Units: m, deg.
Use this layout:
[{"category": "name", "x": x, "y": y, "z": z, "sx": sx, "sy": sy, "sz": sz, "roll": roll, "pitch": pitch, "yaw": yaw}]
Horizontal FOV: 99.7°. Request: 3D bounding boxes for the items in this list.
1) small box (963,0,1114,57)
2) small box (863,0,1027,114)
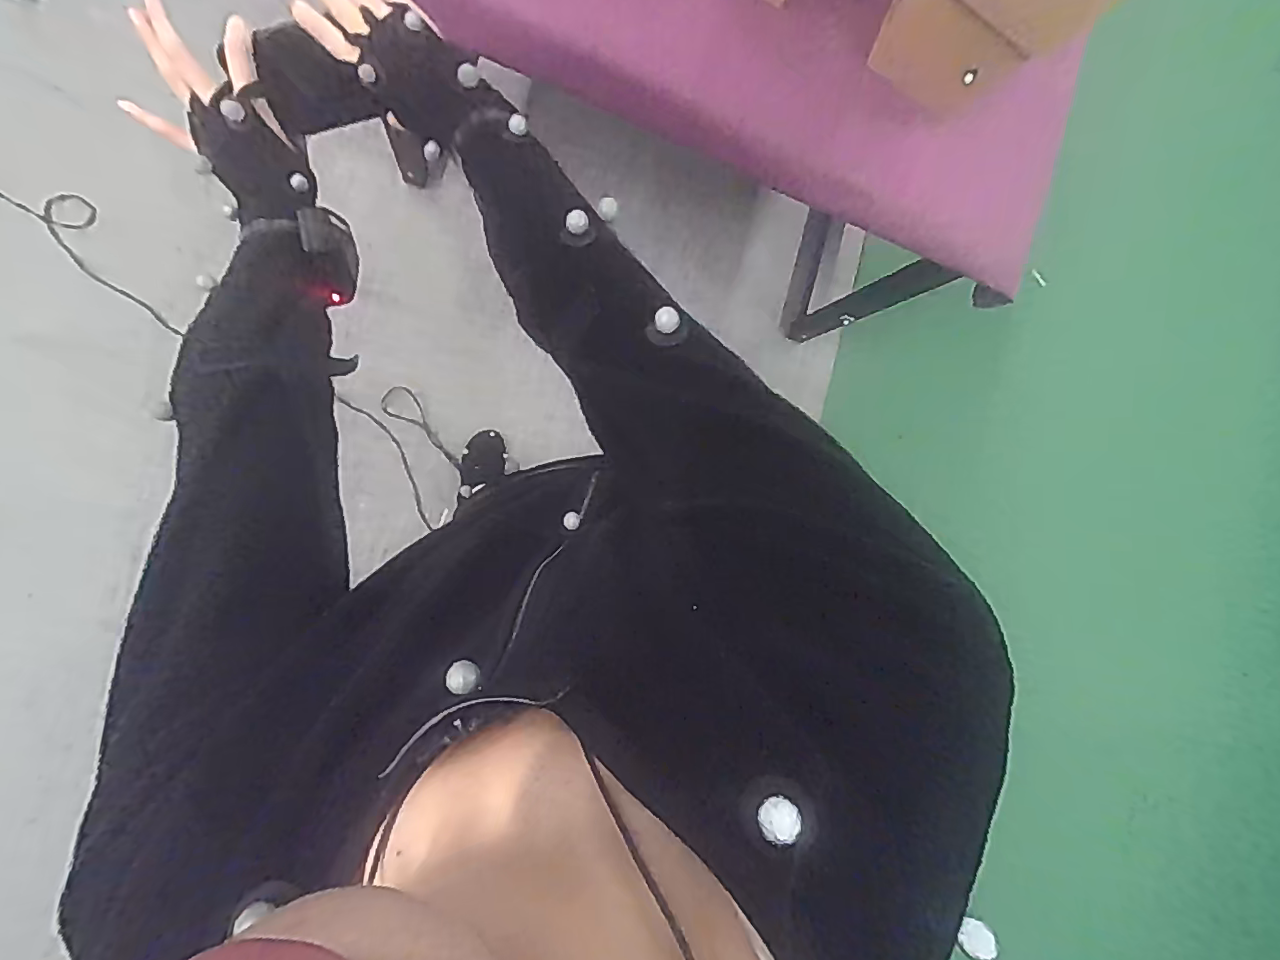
[{"category": "small box", "x": 0.526, "y": -0.680, "z": 0.660, "sx": 0.179, "sy": 0.176, "sz": 0.168, "roll": 25, "pitch": 86, "yaw": -15}, {"category": "small box", "x": 0.482, "y": -0.703, "z": 0.816, "sx": 0.179, "sy": 0.176, "sz": 0.168, "roll": 25, "pitch": 85, "yaw": -14}]
